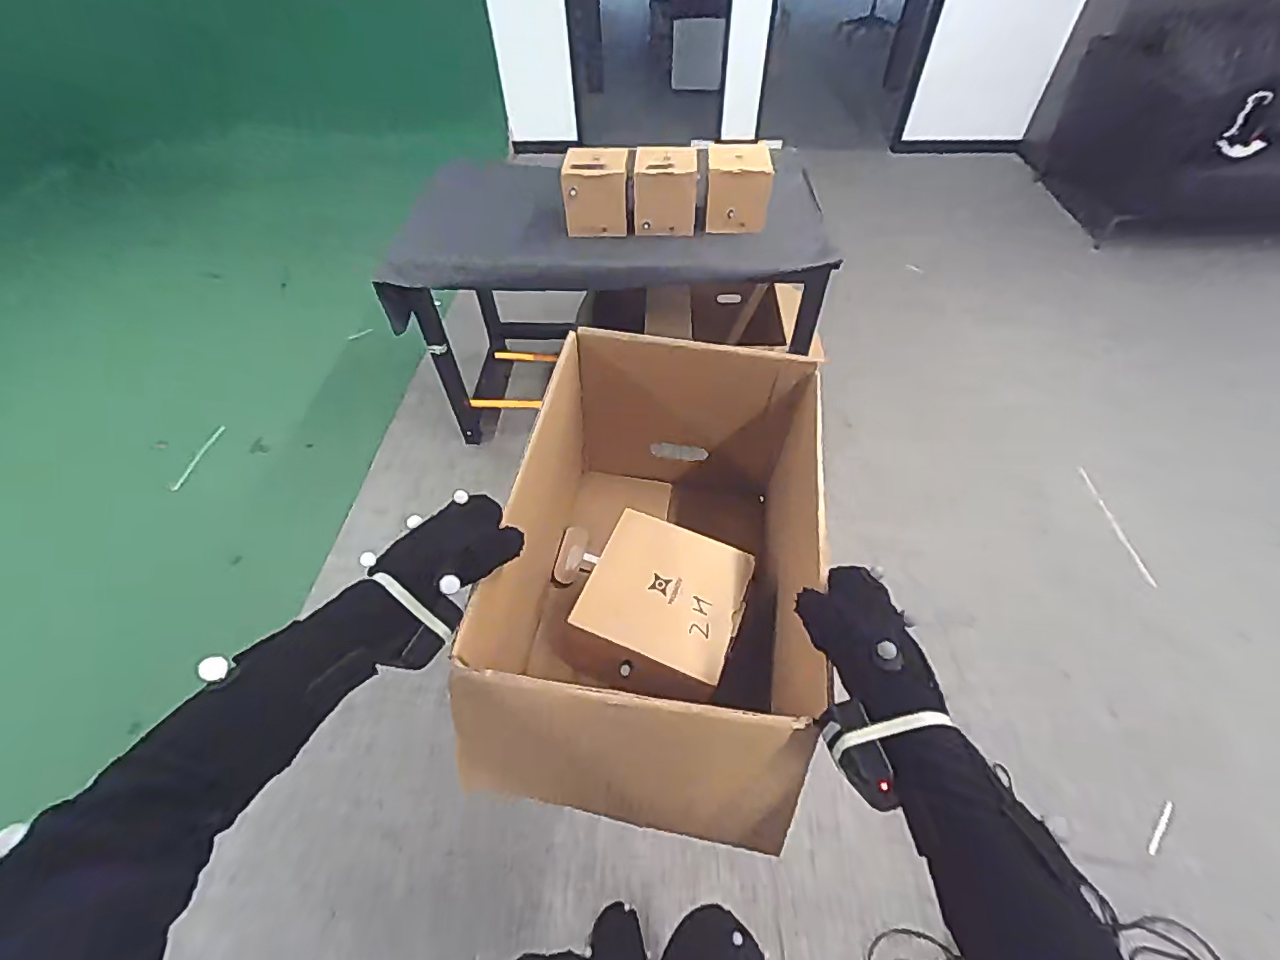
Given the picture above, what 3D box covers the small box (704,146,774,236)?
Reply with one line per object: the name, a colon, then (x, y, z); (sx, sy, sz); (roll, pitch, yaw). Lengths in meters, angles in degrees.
small box: (0.268, -0.803, 1.502); (0.168, 0.176, 0.179); (2, 51, 3)
